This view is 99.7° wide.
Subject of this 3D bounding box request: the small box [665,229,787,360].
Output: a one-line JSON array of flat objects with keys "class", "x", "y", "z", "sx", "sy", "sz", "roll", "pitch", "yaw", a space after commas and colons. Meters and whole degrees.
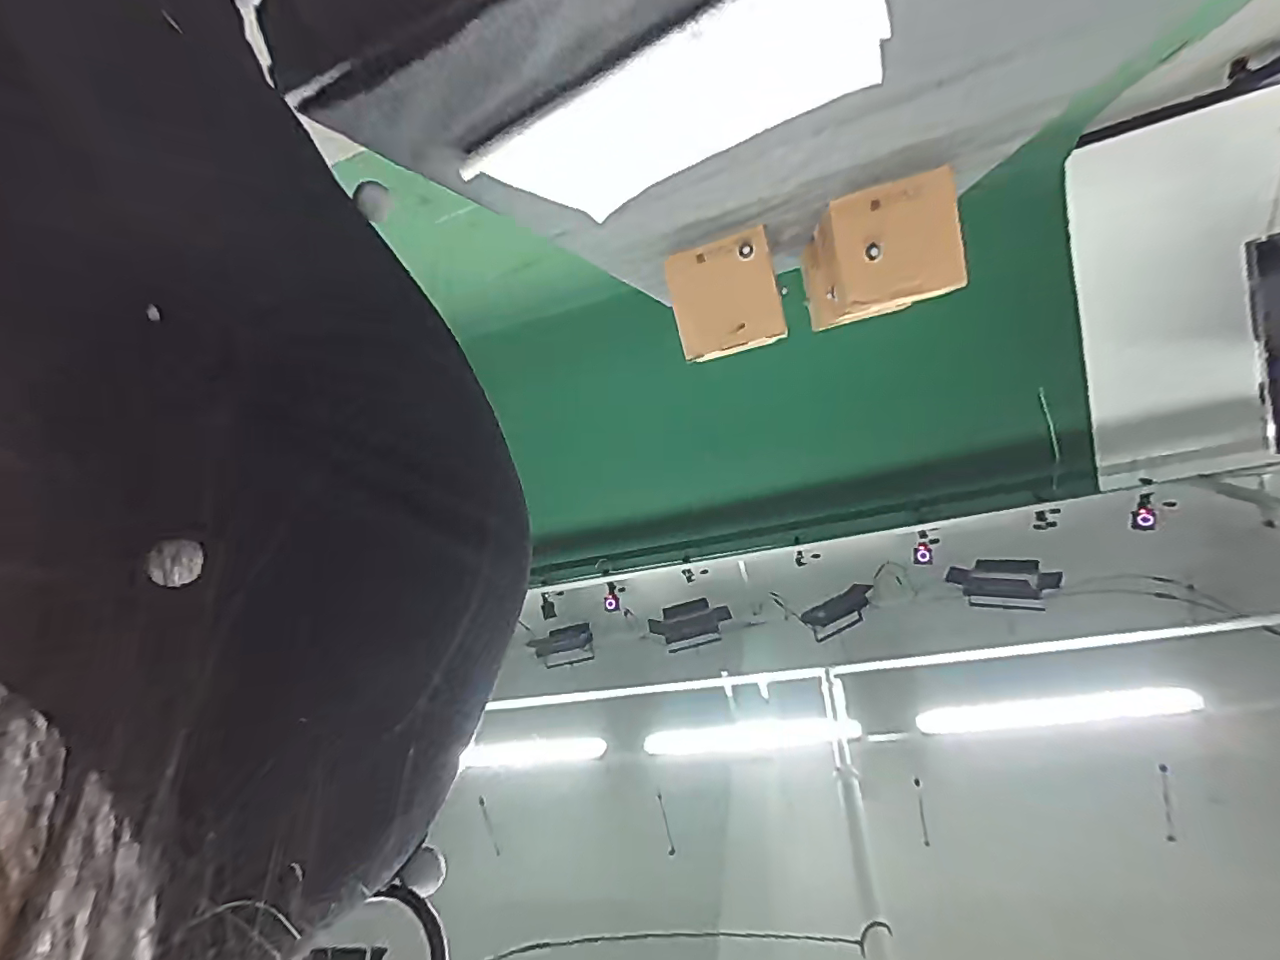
[{"class": "small box", "x": 0.153, "y": -0.312, "z": 0.928, "sx": 0.168, "sy": 0.176, "sz": 0.179, "roll": -12, "pitch": -170, "yaw": 18}]
